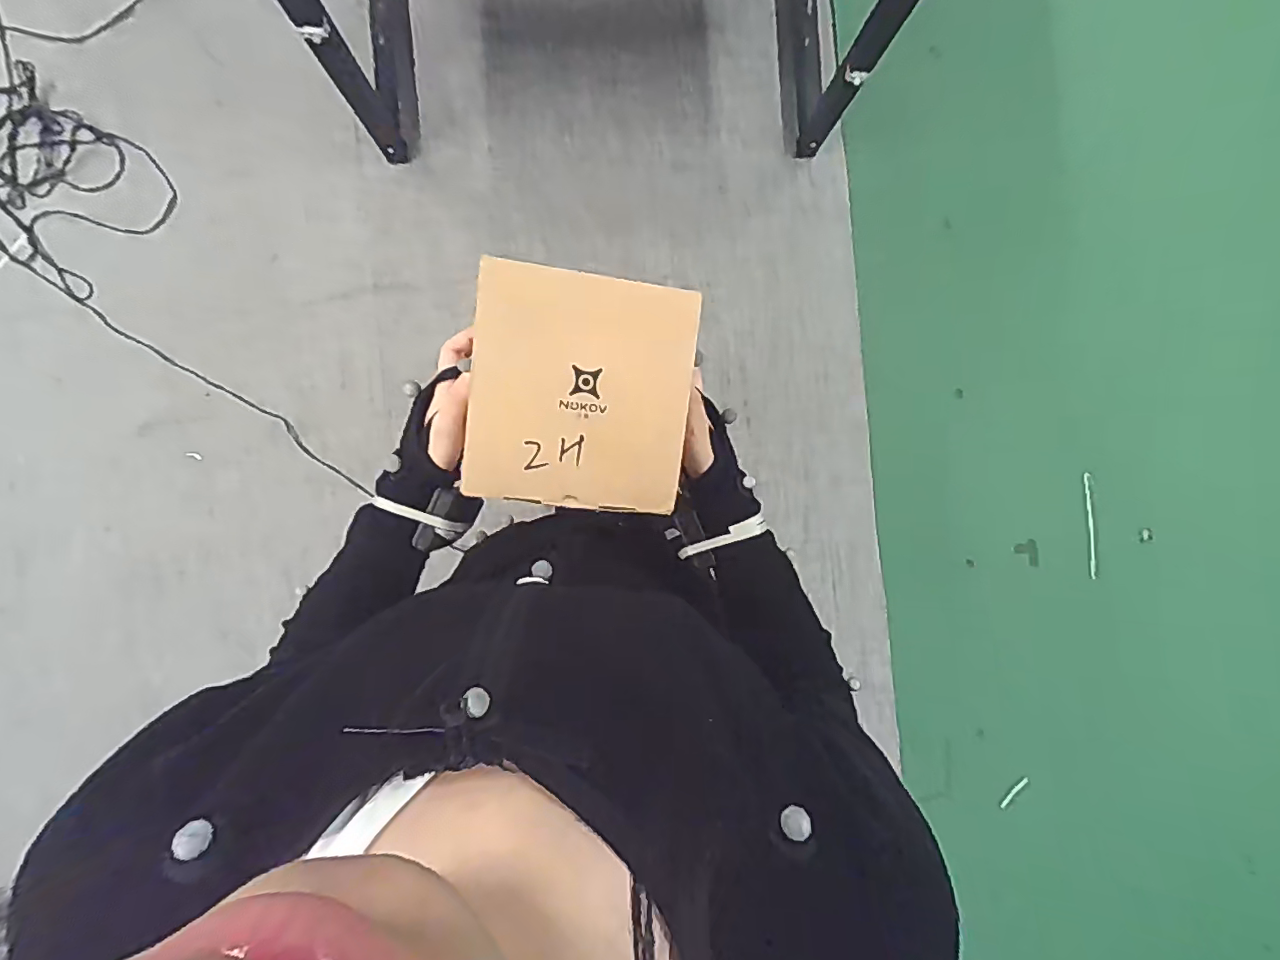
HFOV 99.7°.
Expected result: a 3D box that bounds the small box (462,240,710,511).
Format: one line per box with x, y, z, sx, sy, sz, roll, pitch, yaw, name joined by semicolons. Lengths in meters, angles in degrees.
-0.052;-0.080;0.470;0.168;0.176;0.179;7;96;-11;small box
